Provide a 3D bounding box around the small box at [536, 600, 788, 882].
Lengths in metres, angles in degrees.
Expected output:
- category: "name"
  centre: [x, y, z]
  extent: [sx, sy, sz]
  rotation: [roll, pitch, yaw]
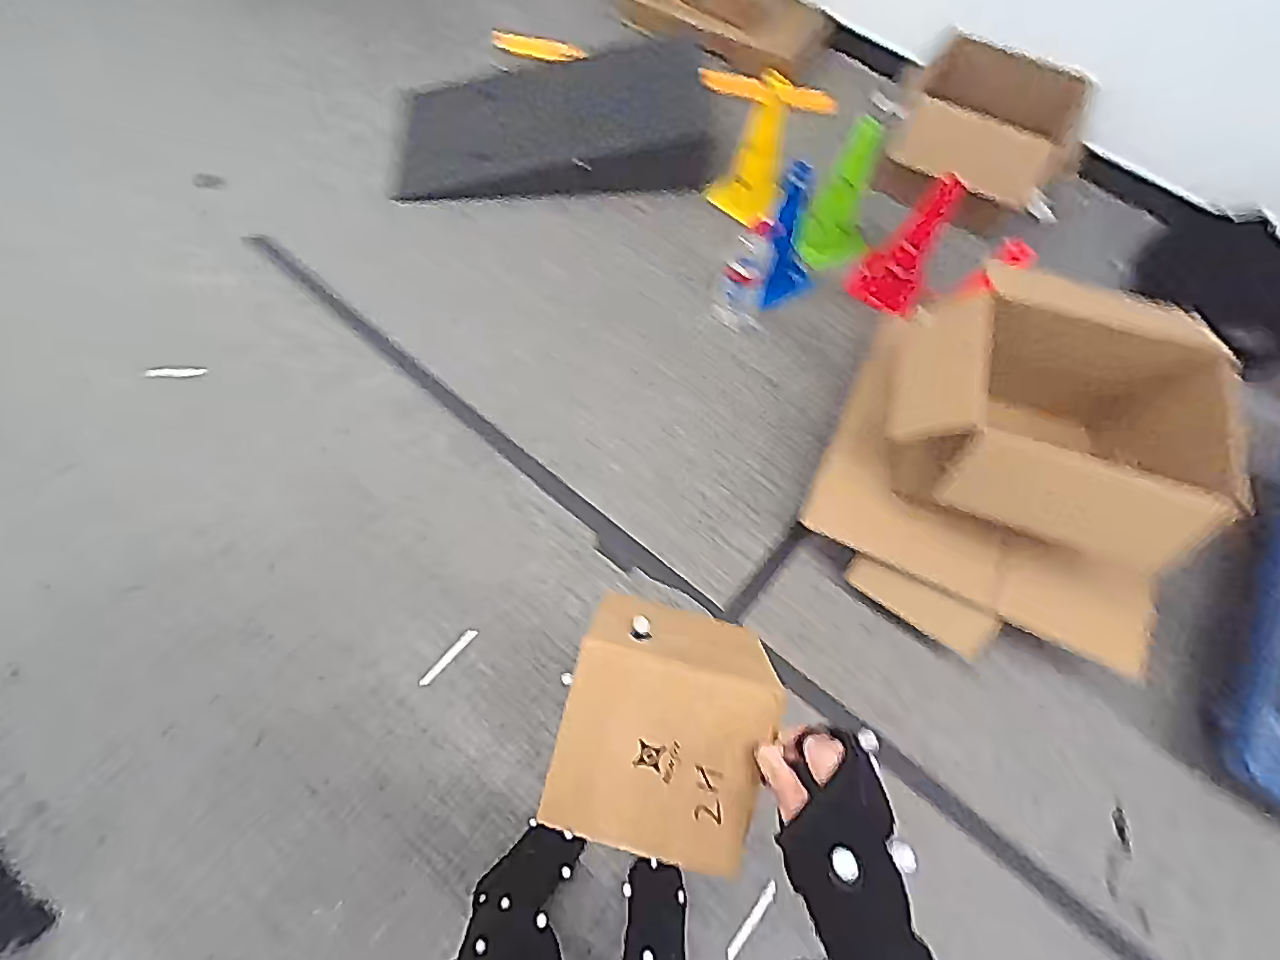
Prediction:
- category: "small box"
  centre: [0.020, 0.228, 0.523]
  extent: [0.179, 0.176, 0.168]
  rotation: [15, 93, 1]
